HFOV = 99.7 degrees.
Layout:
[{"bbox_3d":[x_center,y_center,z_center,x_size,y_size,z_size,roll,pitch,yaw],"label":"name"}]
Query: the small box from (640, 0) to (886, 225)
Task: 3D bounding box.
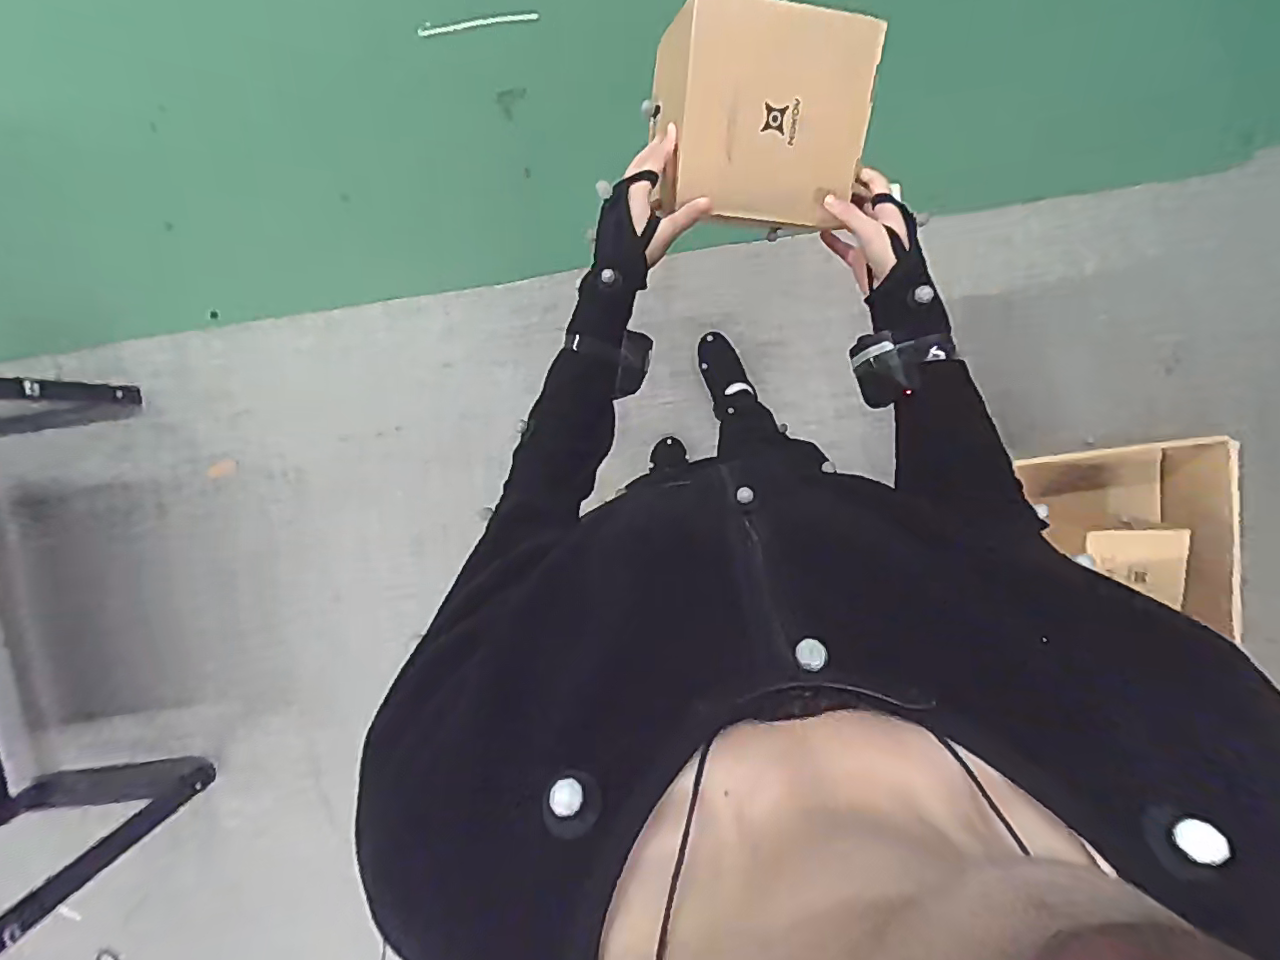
[{"bbox_3d":[0.106,-0.357,0.548,0.179,0.176,0.168,1,114,-11],"label":"small box"}]
